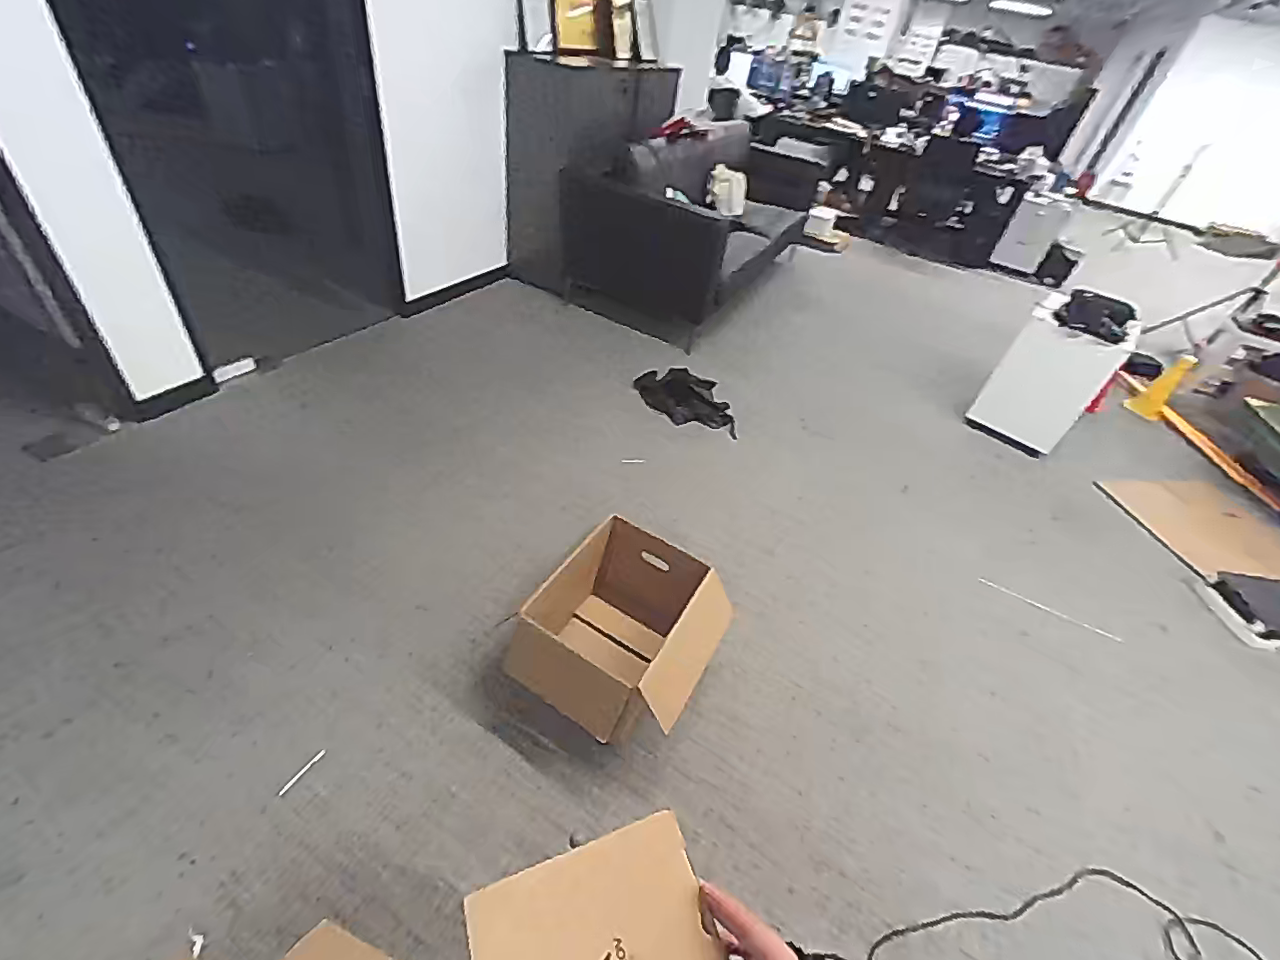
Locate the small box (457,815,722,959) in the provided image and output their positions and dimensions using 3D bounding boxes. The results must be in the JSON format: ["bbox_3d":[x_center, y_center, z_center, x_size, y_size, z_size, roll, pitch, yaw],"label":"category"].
[{"bbox_3d":[-0.034,0.406,0.429,0.179,0.176,0.168,-11,48,-18],"label":"small box"}]
